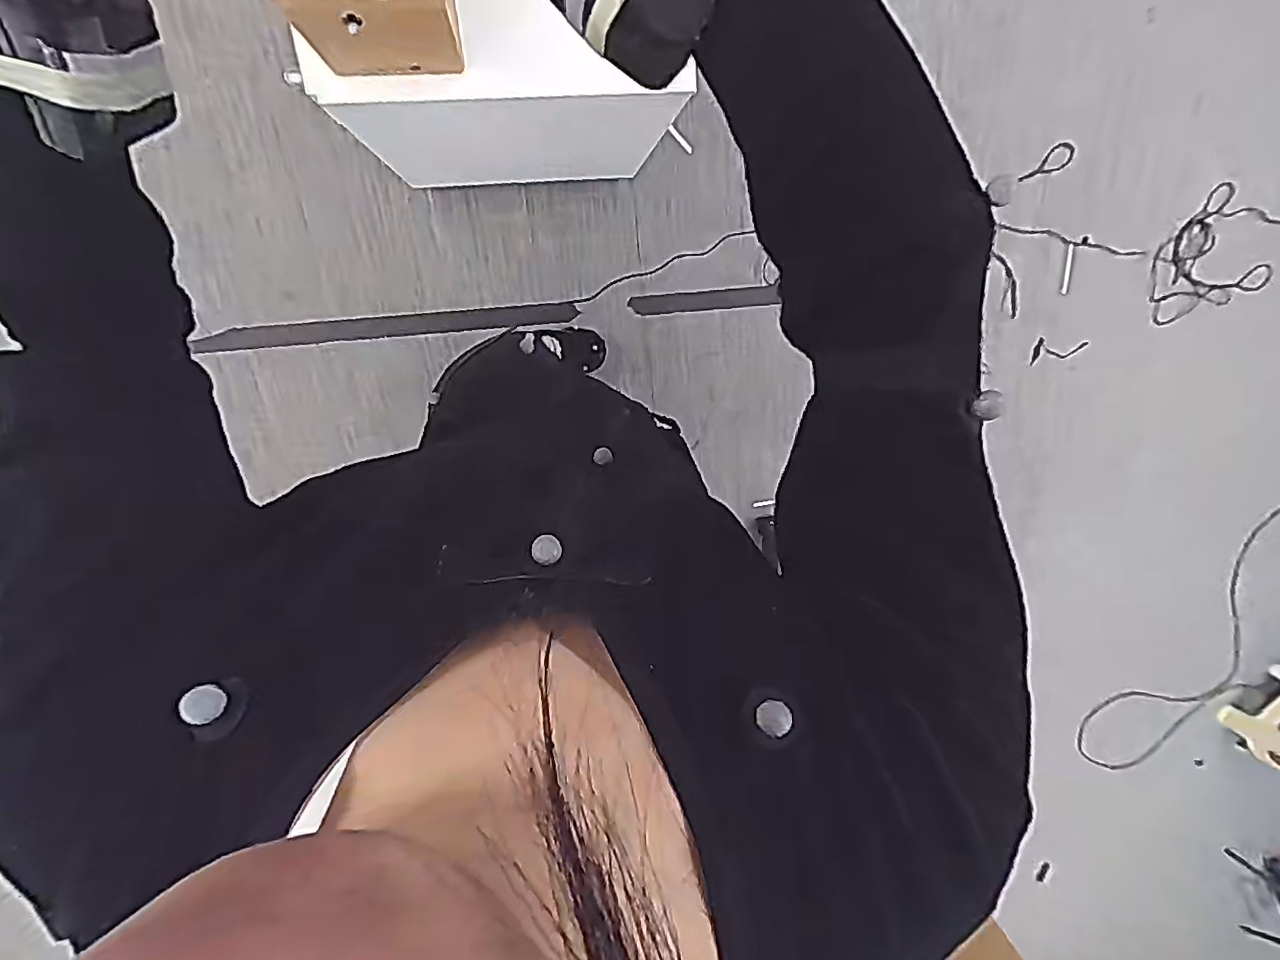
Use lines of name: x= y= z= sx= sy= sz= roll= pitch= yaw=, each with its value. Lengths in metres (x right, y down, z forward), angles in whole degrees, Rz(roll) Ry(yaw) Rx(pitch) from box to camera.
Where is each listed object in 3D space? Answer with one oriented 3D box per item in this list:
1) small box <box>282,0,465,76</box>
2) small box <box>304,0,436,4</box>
small box: x=-0.297 y=-0.582 z=0.595 sx=0.168 sy=0.176 sz=0.179 roll=-7 pitch=108 yaw=-8
small box: x=-0.268 y=-0.531 z=0.442 sx=0.168 sy=0.176 sz=0.179 roll=-8 pitch=109 yaw=-8
